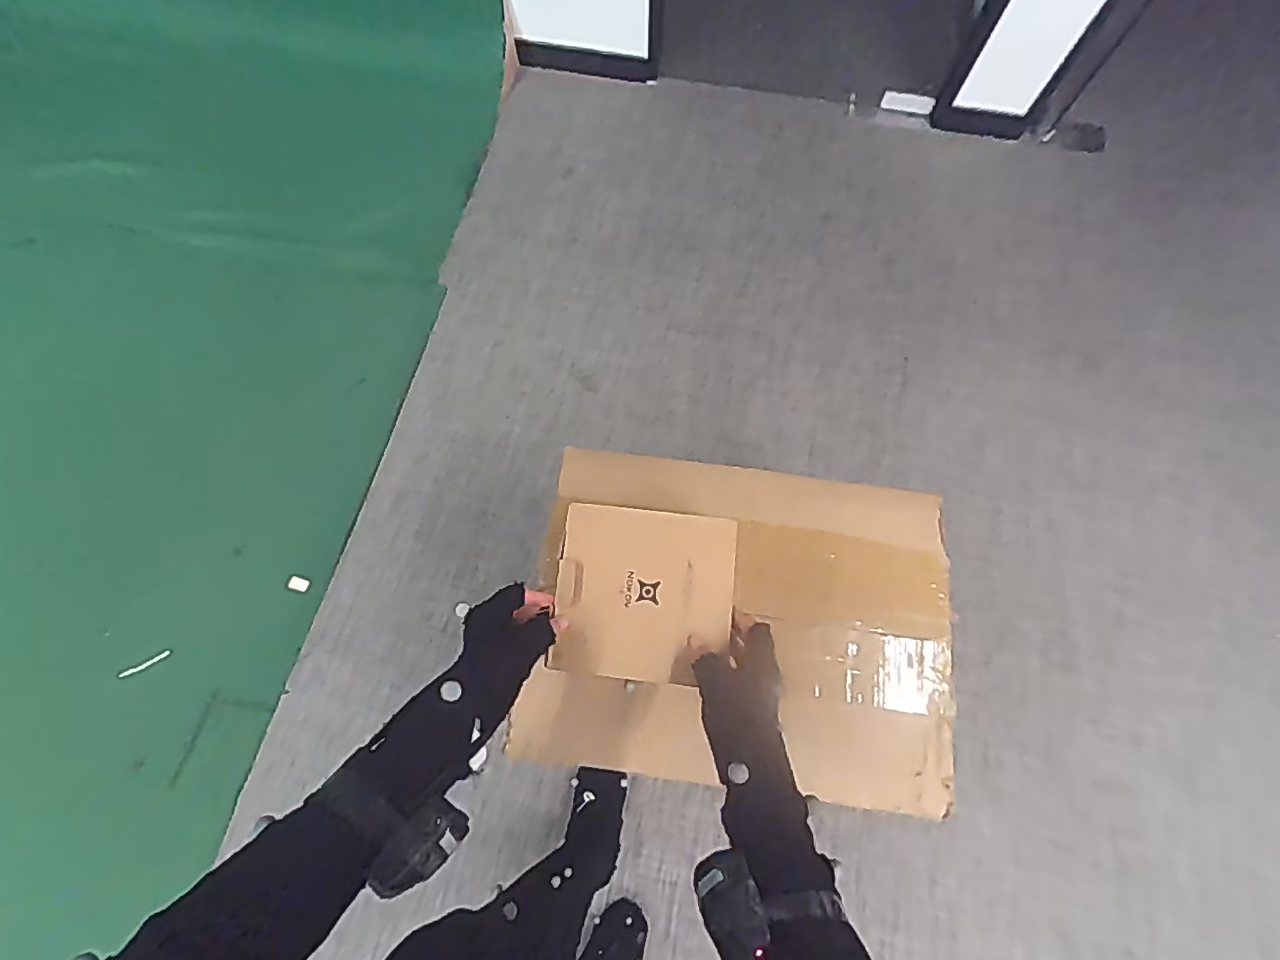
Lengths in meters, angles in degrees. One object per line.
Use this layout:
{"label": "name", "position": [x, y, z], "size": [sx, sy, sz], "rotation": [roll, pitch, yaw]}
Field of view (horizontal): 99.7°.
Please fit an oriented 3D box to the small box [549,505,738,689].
{"label": "small box", "position": [0.006, 0.133, 0.610], "size": [0.179, 0.176, 0.168], "rotation": [5, 75, 1]}
